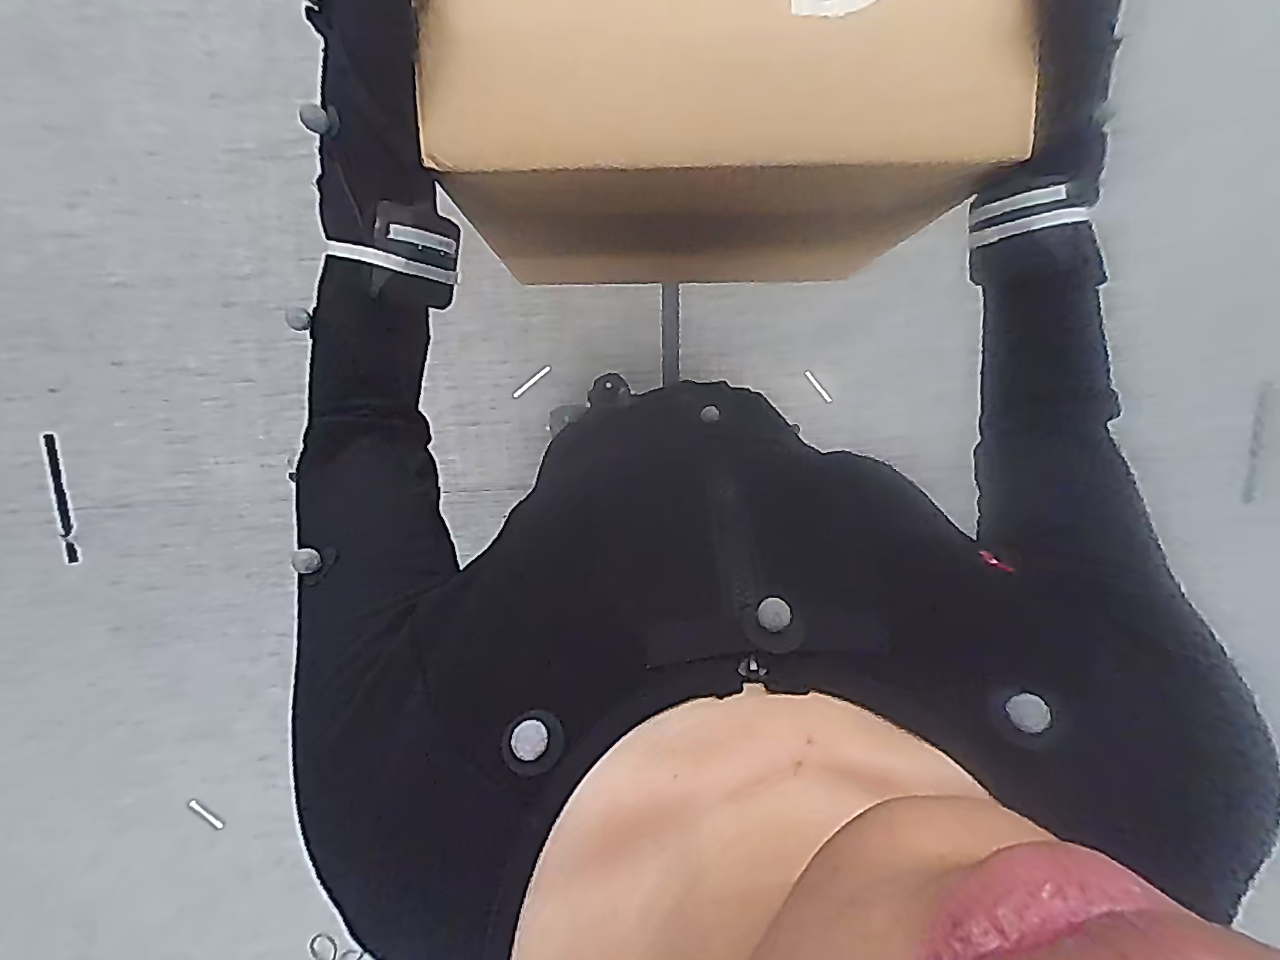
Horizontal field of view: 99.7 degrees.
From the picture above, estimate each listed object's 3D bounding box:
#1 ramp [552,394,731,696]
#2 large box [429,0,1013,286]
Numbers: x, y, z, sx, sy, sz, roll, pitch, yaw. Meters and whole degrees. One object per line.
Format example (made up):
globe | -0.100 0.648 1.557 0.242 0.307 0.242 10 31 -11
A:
ramp | 0.026 0.245 1.637 0.509 0.206 0.991 -4 101 -2
large box | 0.050 -0.384 0.508 0.408 0.320 0.320 -2 96 -1
